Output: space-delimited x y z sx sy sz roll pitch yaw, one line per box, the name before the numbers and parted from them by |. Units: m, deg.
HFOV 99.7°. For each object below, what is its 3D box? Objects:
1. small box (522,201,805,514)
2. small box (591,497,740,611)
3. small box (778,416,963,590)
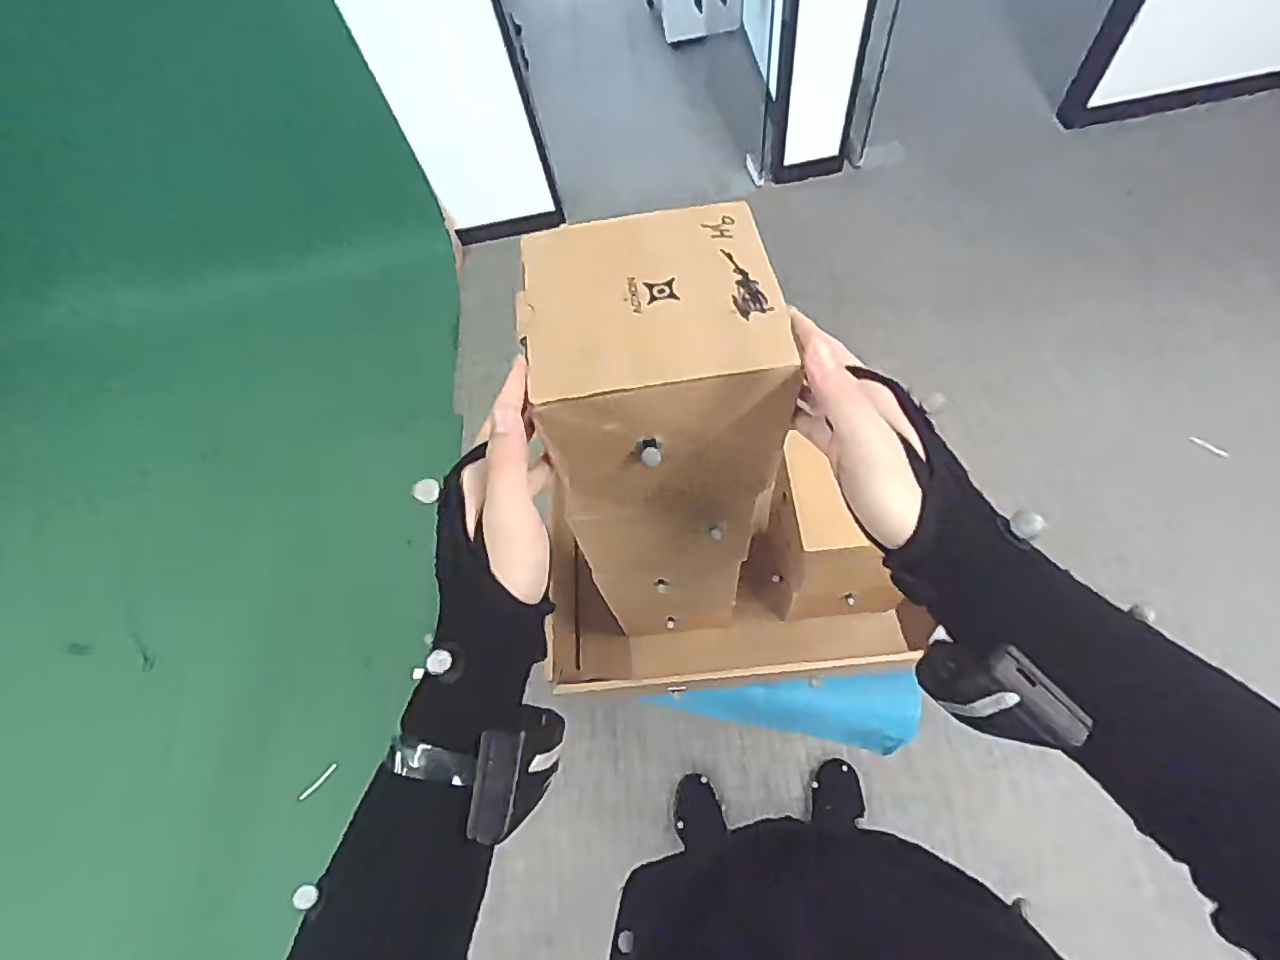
small box | 0.015 -0.086 0.436 0.179 0.176 0.168 -9 60 1
small box | 0.034 0.071 0.729 0.179 0.176 0.168 -7 61 3
small box | 0.280 0.039 0.709 0.179 0.176 0.168 -7 62 7
